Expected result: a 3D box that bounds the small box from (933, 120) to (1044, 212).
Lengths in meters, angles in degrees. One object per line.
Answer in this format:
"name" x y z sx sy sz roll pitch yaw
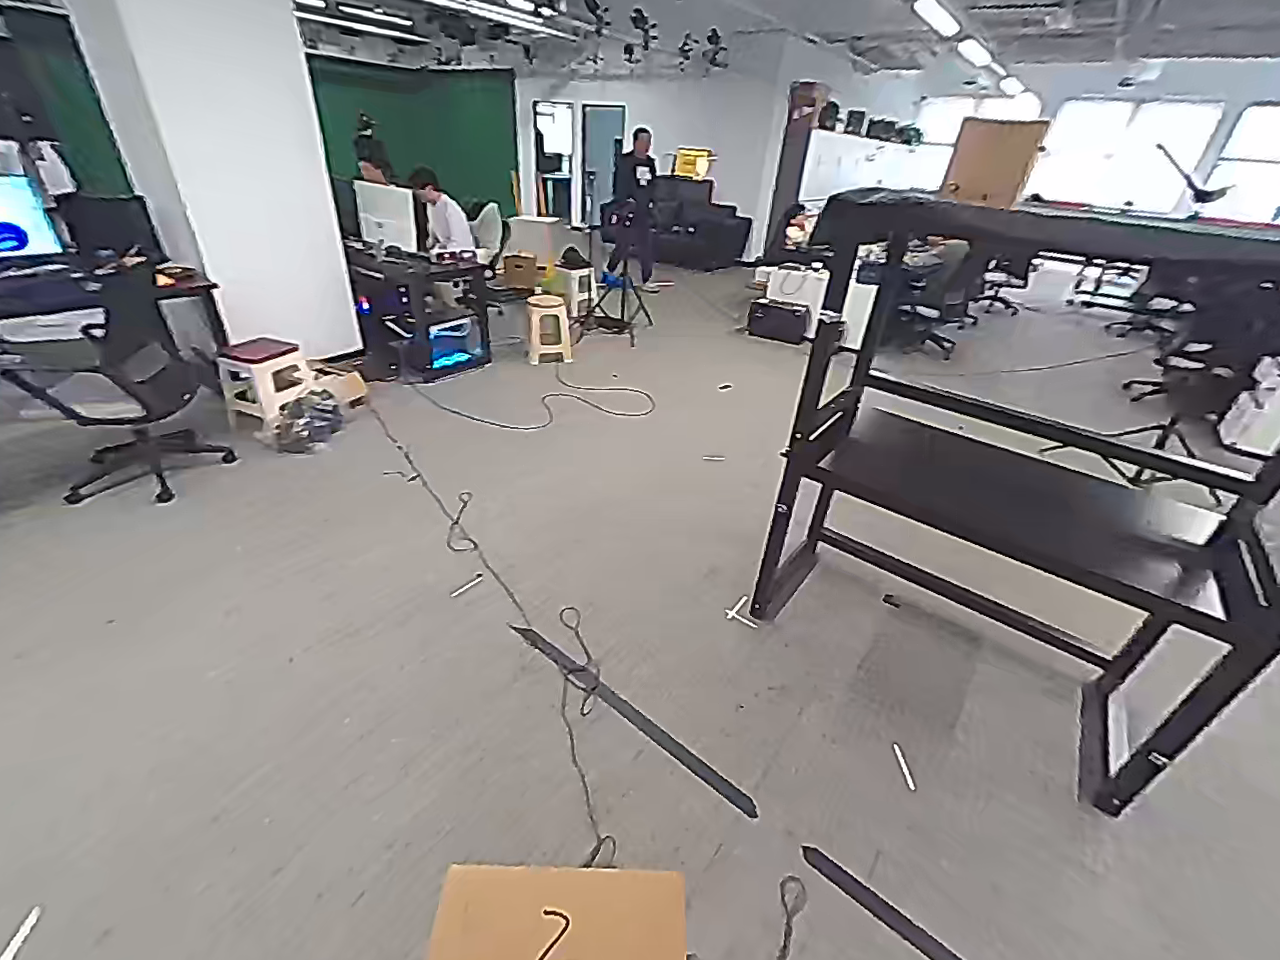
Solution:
"small box" 0.805 -0.725 1.256 0.168 0.176 0.179 24 35 27
